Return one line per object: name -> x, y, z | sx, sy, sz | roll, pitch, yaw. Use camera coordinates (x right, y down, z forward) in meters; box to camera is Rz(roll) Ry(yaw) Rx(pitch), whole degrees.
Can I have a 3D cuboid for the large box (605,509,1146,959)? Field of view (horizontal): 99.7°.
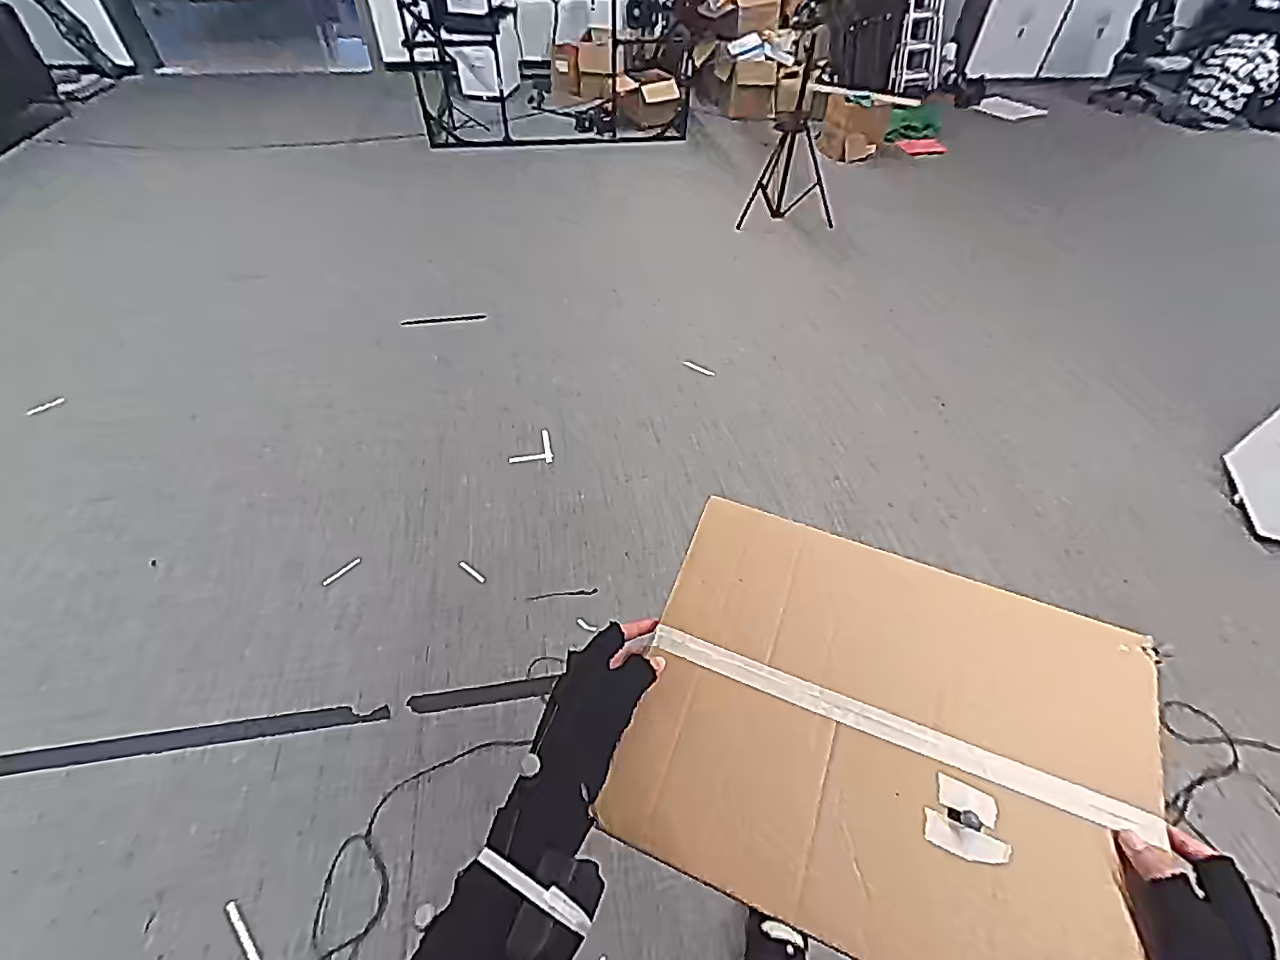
large box -> 0.212, 0.284, 0.595 | 0.408, 0.320, 0.320 | 18, 63, 13
